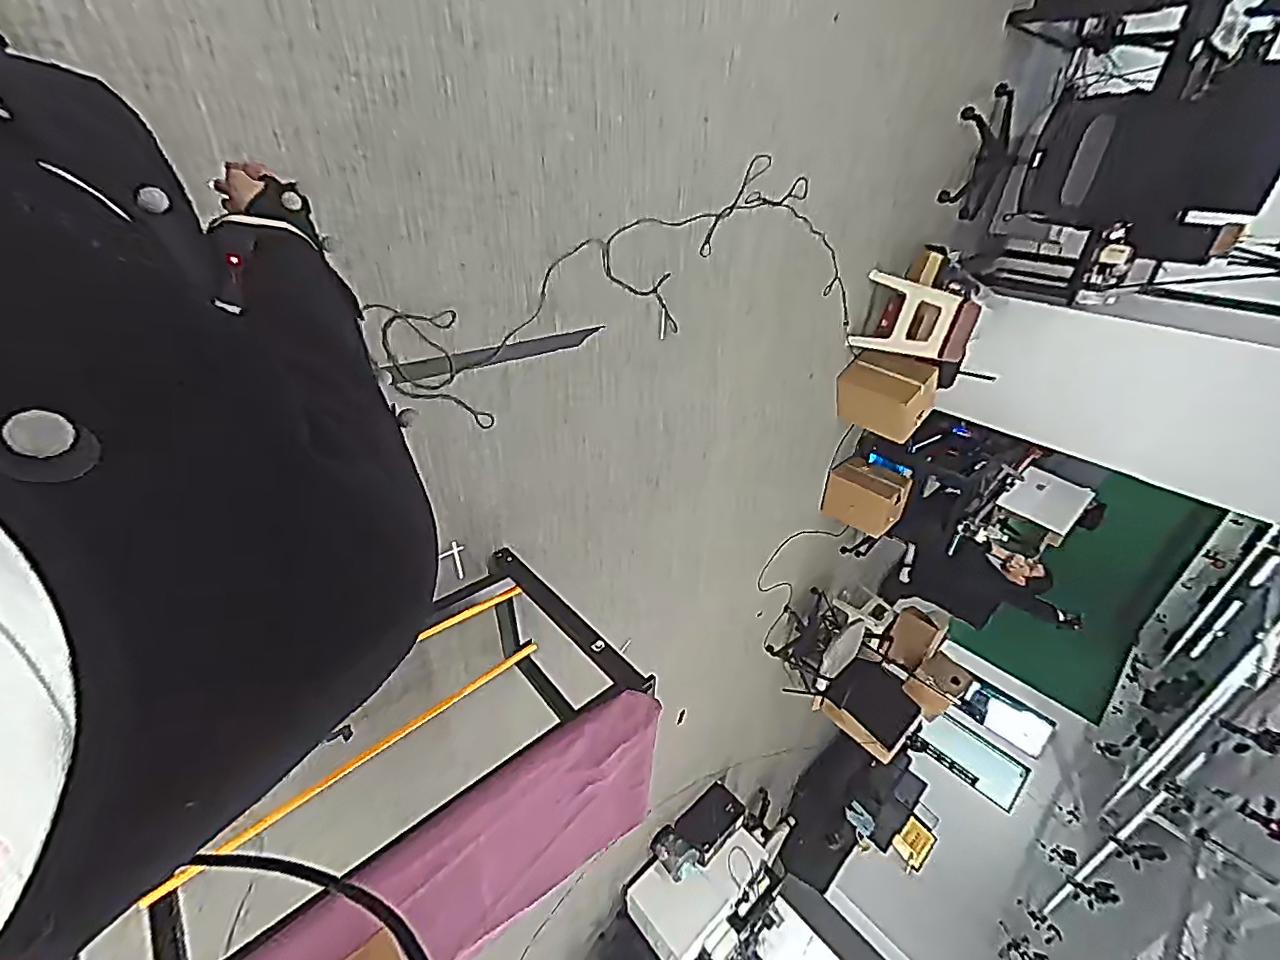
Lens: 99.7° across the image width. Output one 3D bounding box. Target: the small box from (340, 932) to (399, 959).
[{"bbox_3d":[-0.522,1.016,1.018,0.168,0.176,0.179,-23,129,-38],"label":"small box"}]
